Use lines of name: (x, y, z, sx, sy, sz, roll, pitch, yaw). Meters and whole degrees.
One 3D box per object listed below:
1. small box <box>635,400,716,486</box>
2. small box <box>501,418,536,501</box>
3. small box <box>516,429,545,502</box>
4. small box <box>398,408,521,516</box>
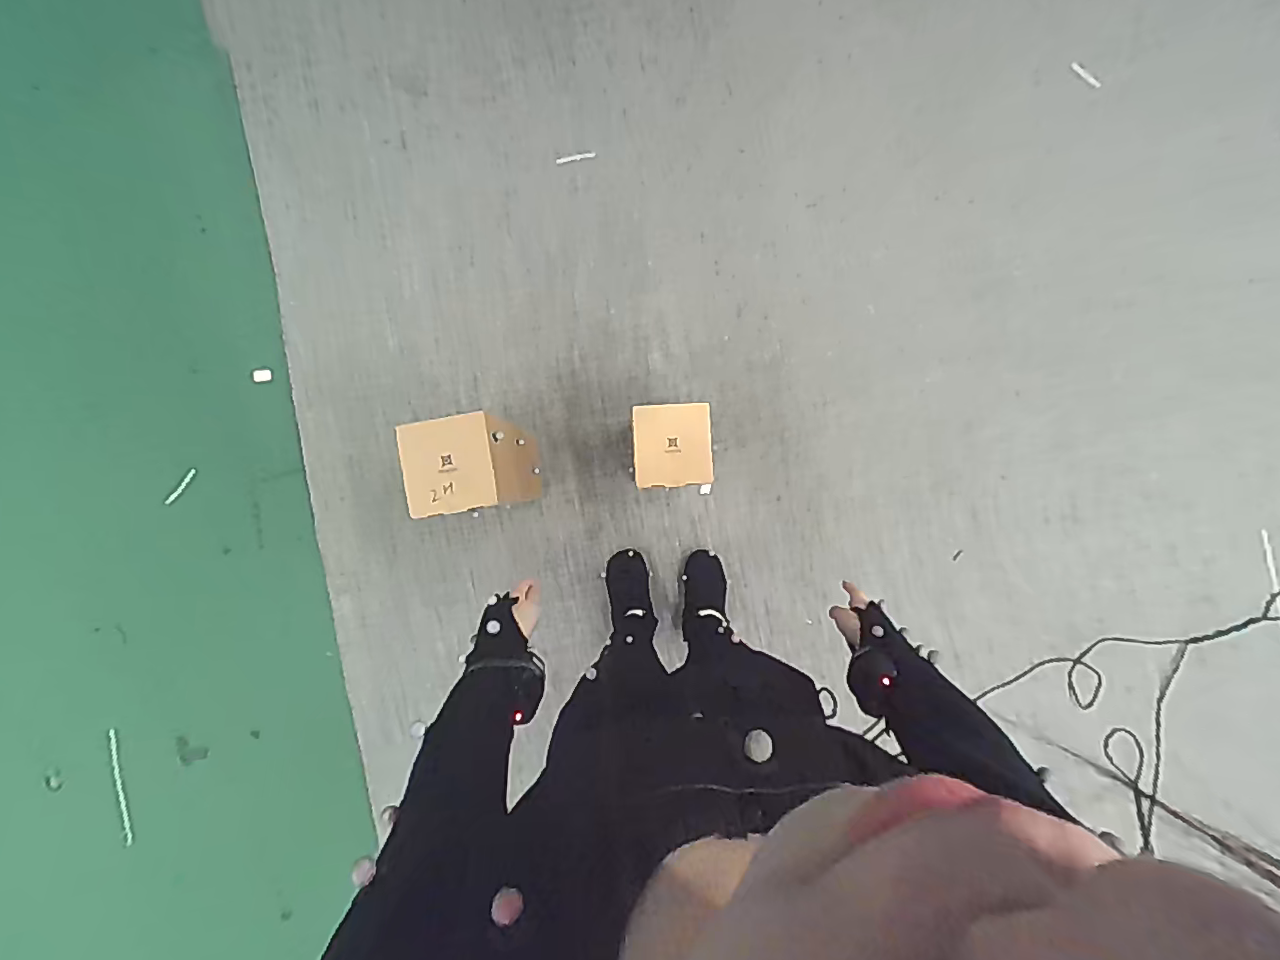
small box: (0.074, -0.076, 1.211, 0.168, 0.176, 0.179, -3, 90, 1)
small box: (-0.342, -0.031, 1.215, 0.168, 0.176, 0.179, -10, 90, 1)
small box: (-0.344, -0.031, 1.377, 0.168, 0.176, 0.179, -7, 90, 0)
small box: (-0.342, -0.031, 1.050, 0.168, 0.176, 0.179, -10, 89, 2)
